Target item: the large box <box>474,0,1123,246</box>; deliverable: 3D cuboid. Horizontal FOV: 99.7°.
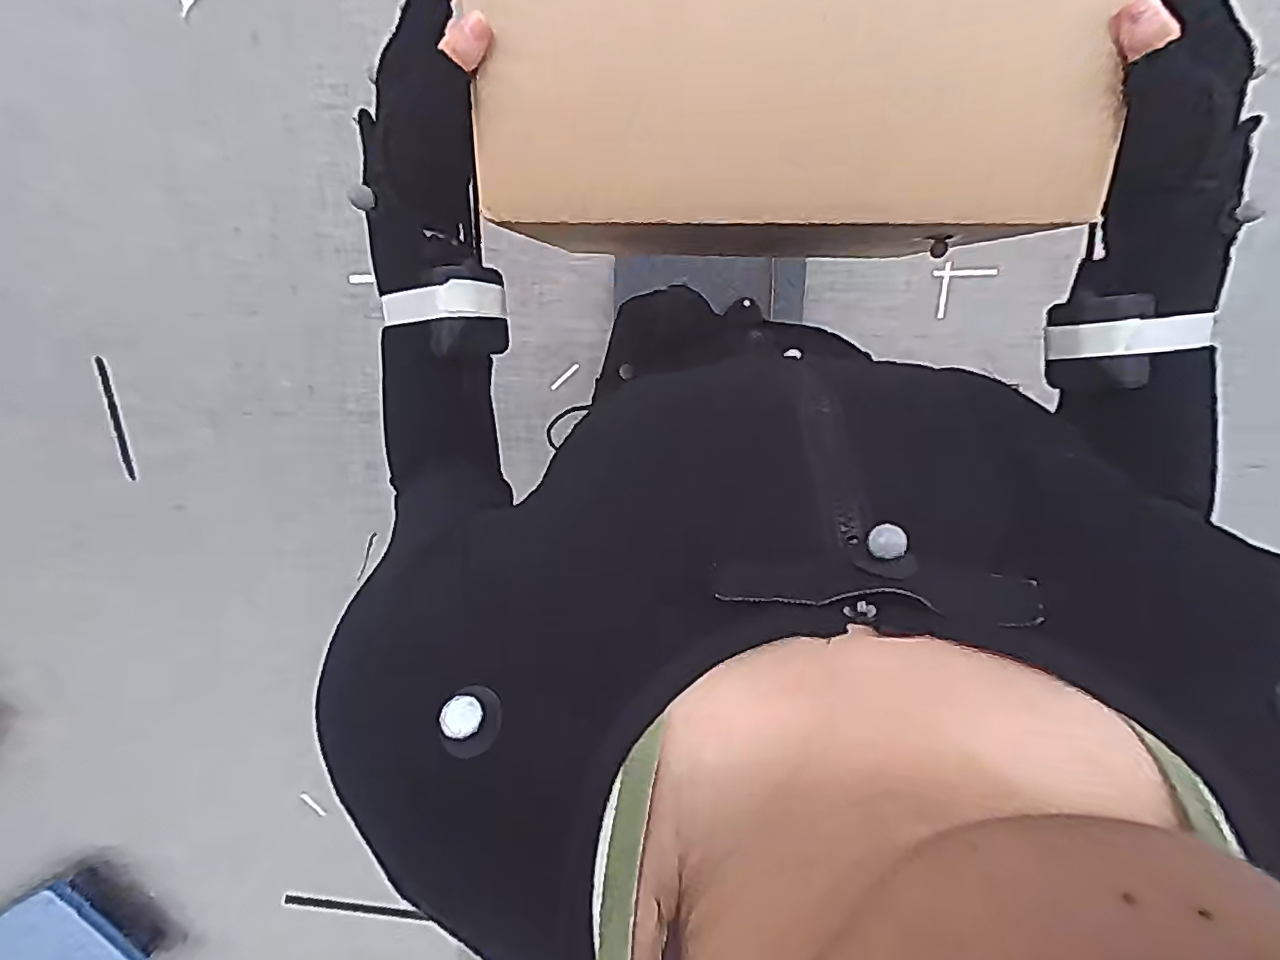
[{"bbox_3d":[0.103,-0.376,0.462,0.408,0.320,0.320,2,109,3],"label":"large box"}]
